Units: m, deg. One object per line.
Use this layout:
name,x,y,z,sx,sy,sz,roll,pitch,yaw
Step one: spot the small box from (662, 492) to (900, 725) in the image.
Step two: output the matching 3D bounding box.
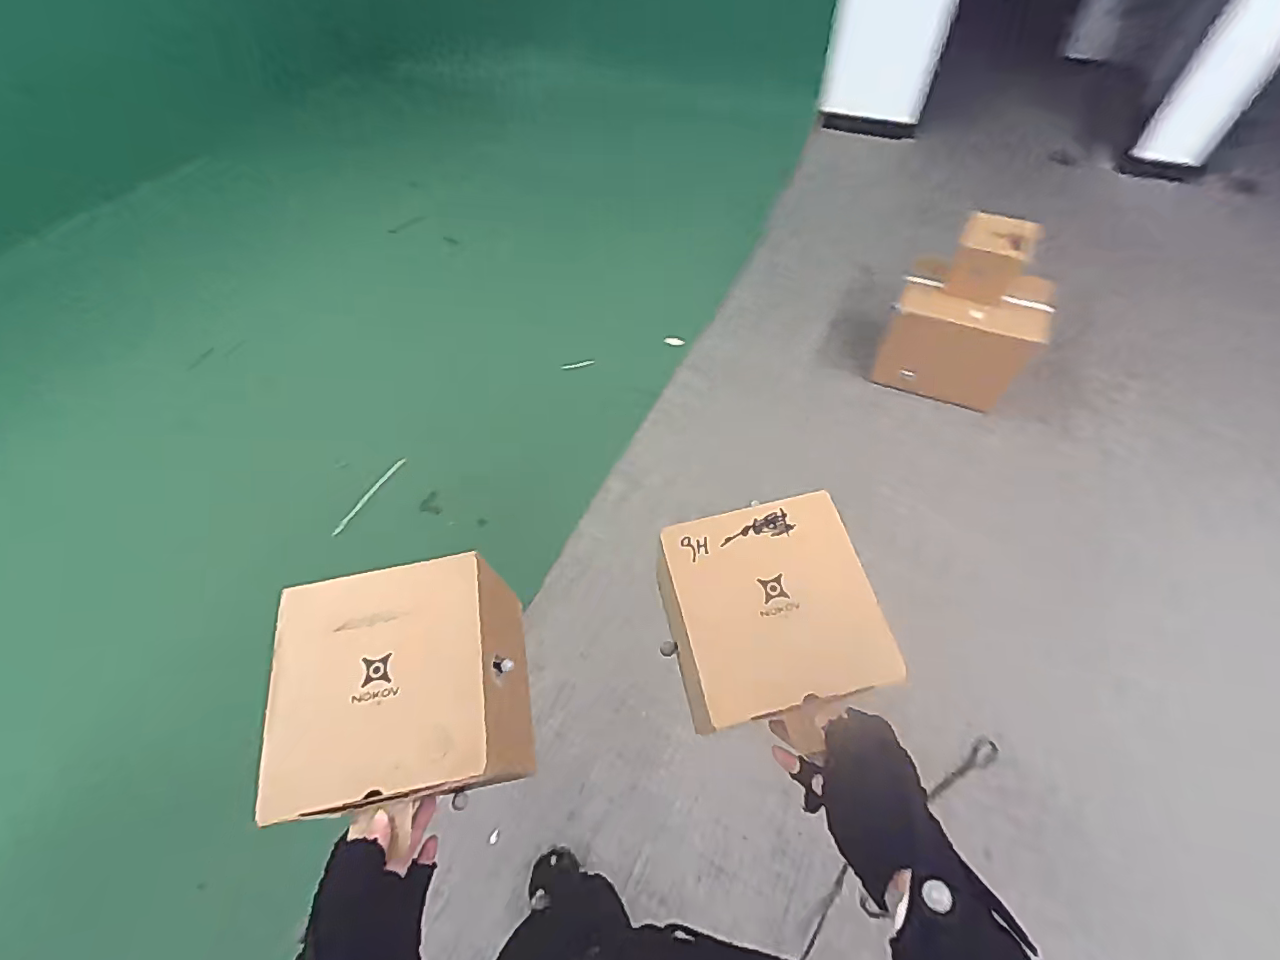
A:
small box,0.120,0.135,0.543,0.168,0.176,0.179,-11,66,-5

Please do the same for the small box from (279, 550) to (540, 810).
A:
small box,-0.195,0.186,0.506,0.168,0.176,0.179,-11,62,-3

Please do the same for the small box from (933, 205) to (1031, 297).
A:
small box,0.995,-0.665,1.581,0.179,0.176,0.168,20,66,16
